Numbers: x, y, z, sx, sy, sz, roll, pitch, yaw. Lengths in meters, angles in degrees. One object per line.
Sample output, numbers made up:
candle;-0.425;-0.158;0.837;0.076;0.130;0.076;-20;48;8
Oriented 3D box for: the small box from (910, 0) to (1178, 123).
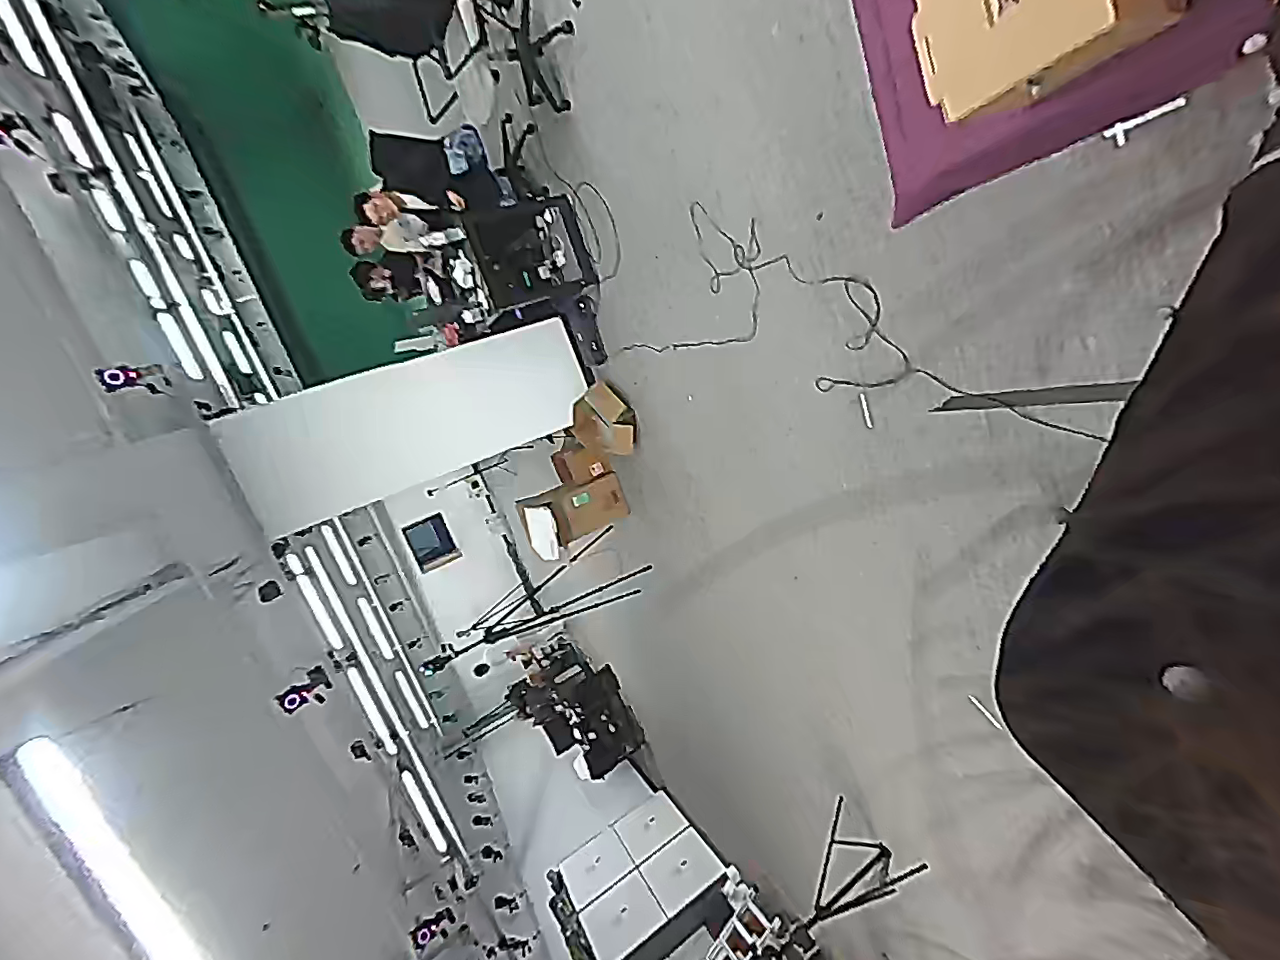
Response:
small box;0.445;-0.541;0.606;0.179;0.176;0.168;4;117;64
